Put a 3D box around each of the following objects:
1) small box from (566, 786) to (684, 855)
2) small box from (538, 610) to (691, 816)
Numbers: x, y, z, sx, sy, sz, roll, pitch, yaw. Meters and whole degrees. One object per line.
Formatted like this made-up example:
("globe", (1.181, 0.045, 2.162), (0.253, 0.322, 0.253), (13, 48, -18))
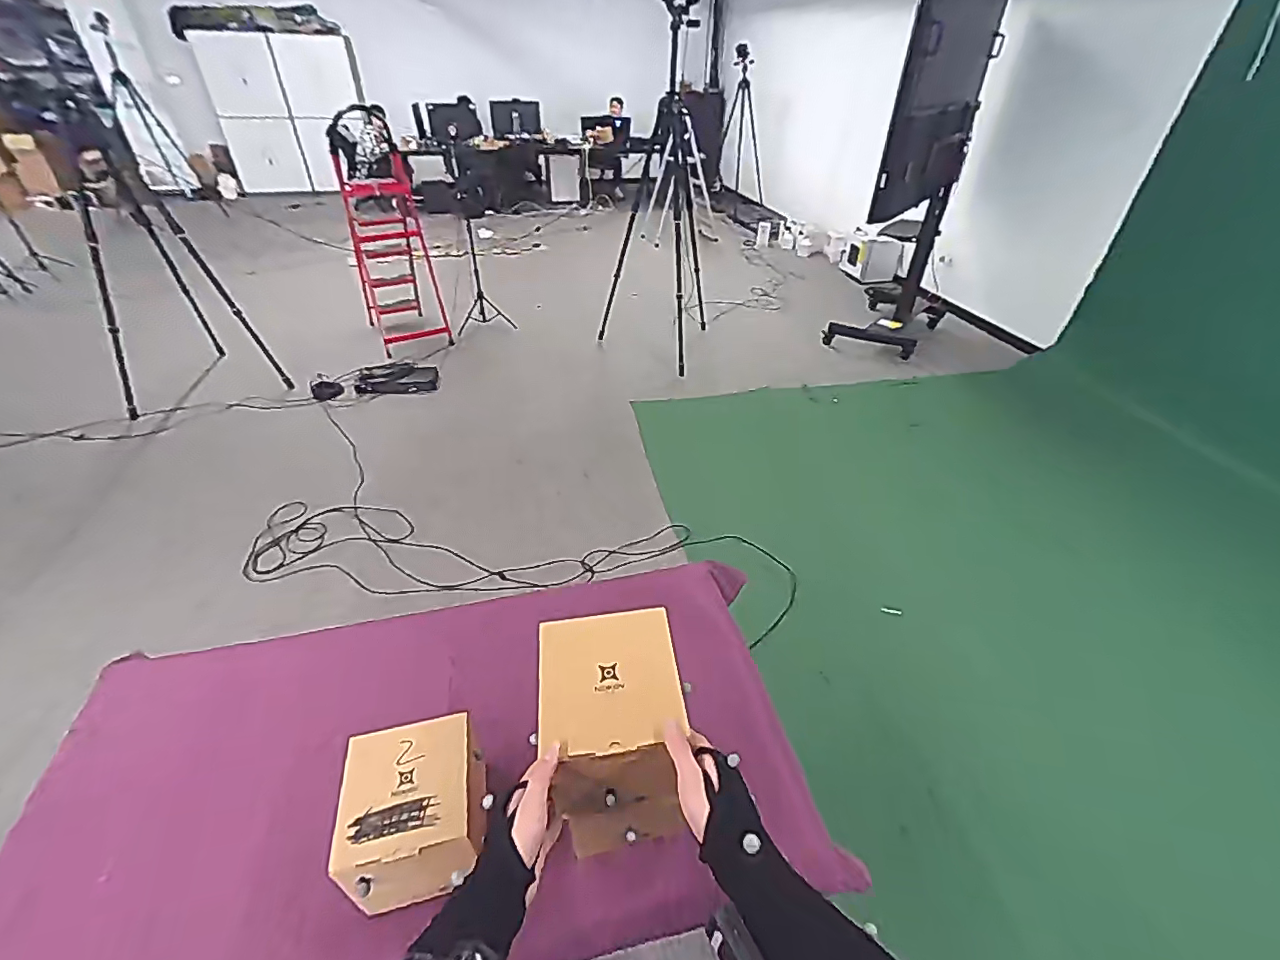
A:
("small box", (-0.039, 0.436, 0.836), (0.168, 0.176, 0.179), (-8, 38, -11))
("small box", (-0.036, 0.292, 0.686), (0.168, 0.176, 0.179), (-6, 42, -5))
